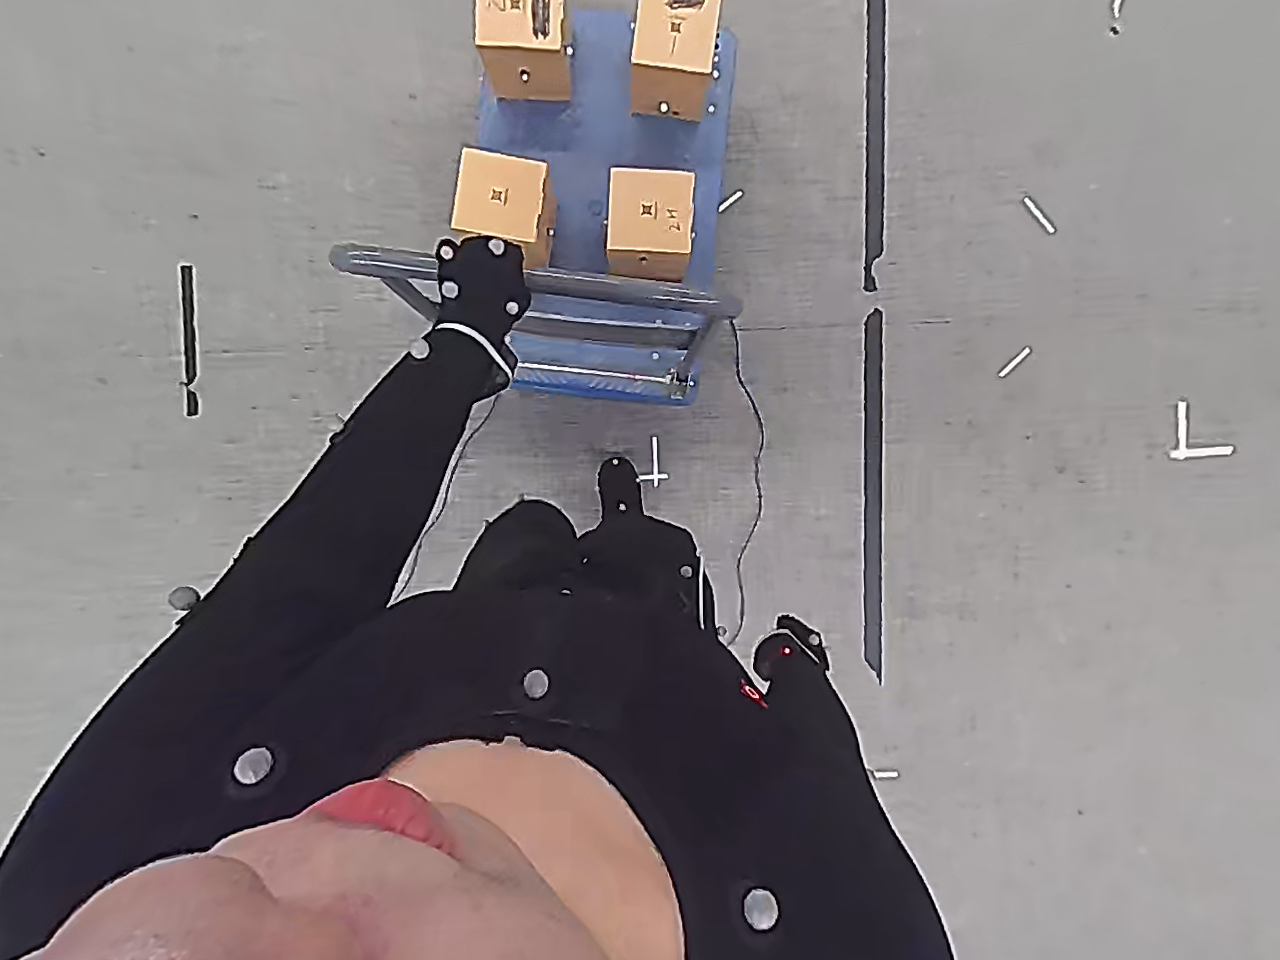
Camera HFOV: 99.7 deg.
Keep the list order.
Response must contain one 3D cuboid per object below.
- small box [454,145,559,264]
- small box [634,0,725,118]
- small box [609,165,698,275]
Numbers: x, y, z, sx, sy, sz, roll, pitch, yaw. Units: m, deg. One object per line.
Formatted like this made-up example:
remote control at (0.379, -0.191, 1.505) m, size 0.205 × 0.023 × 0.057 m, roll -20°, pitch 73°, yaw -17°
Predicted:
small box at (-0.283, -0.587, 1.175) m, size 0.179 × 0.176 × 0.168 m, roll 9°, pitch 93°, yaw -3°
small box at (0.079, -0.926, 1.159) m, size 0.168 × 0.176 × 0.179 m, roll 8°, pitch 95°, yaw -1°
small box at (0.026, -0.559, 1.181) m, size 0.179 × 0.176 × 0.168 m, roll 3°, pitch 93°, yaw -1°
